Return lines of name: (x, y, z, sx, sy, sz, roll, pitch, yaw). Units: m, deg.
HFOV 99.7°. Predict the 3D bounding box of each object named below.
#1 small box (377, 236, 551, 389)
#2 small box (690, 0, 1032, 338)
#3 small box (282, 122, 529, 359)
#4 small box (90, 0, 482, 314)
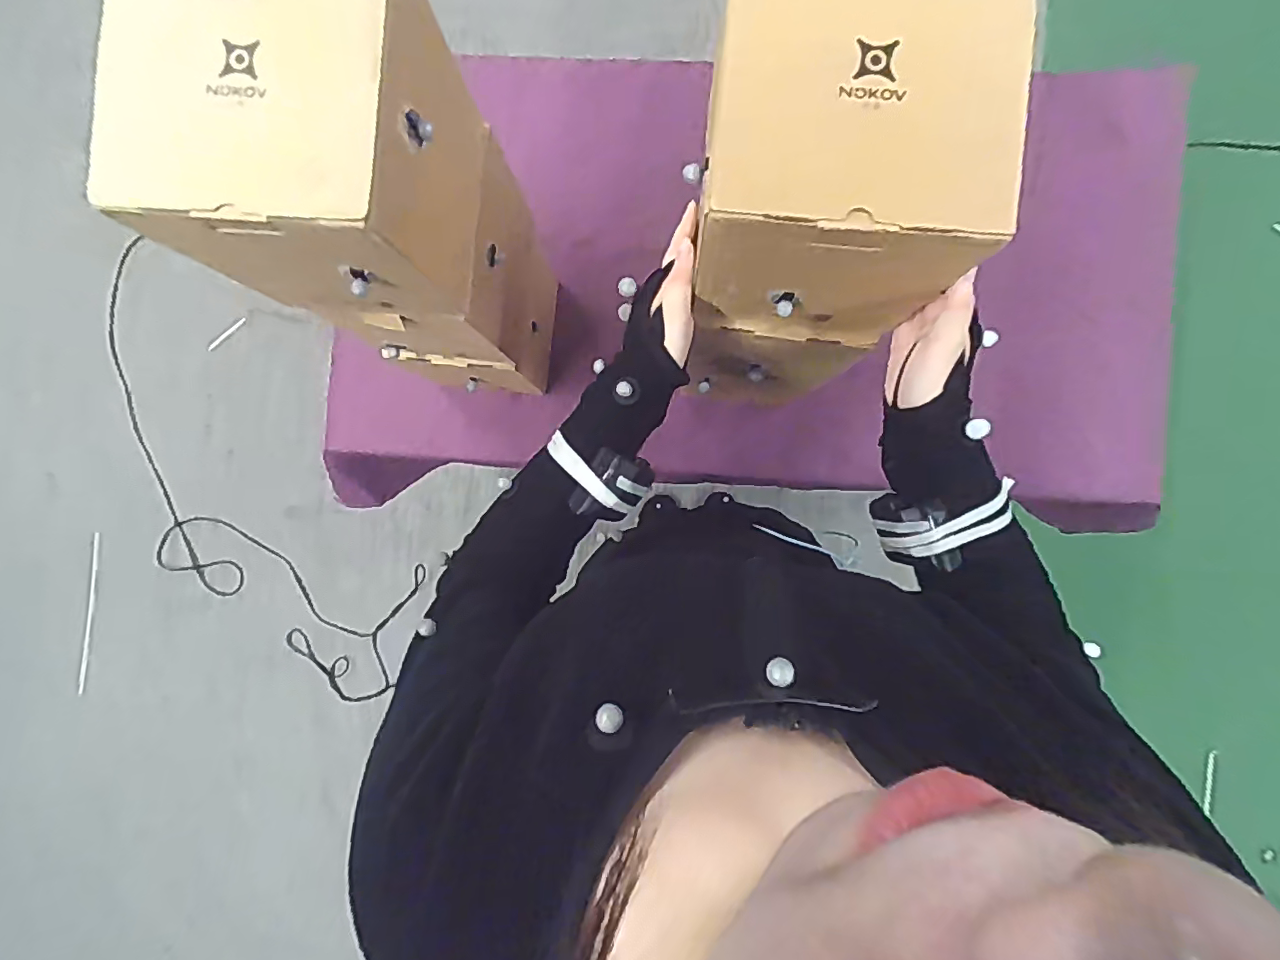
small box: (-0.219, -0.224, 0.716, 0.168, 0.176, 0.179, 7, 90, 1)
small box: (0.128, -0.215, 0.378, 0.168, 0.176, 0.179, 6, 90, 2)
small box: (-0.219, -0.233, 0.551, 0.168, 0.176, 0.179, 8, 88, 2)
small box: (-0.223, -0.232, 0.388, 0.168, 0.176, 0.179, 6, 89, 1)
